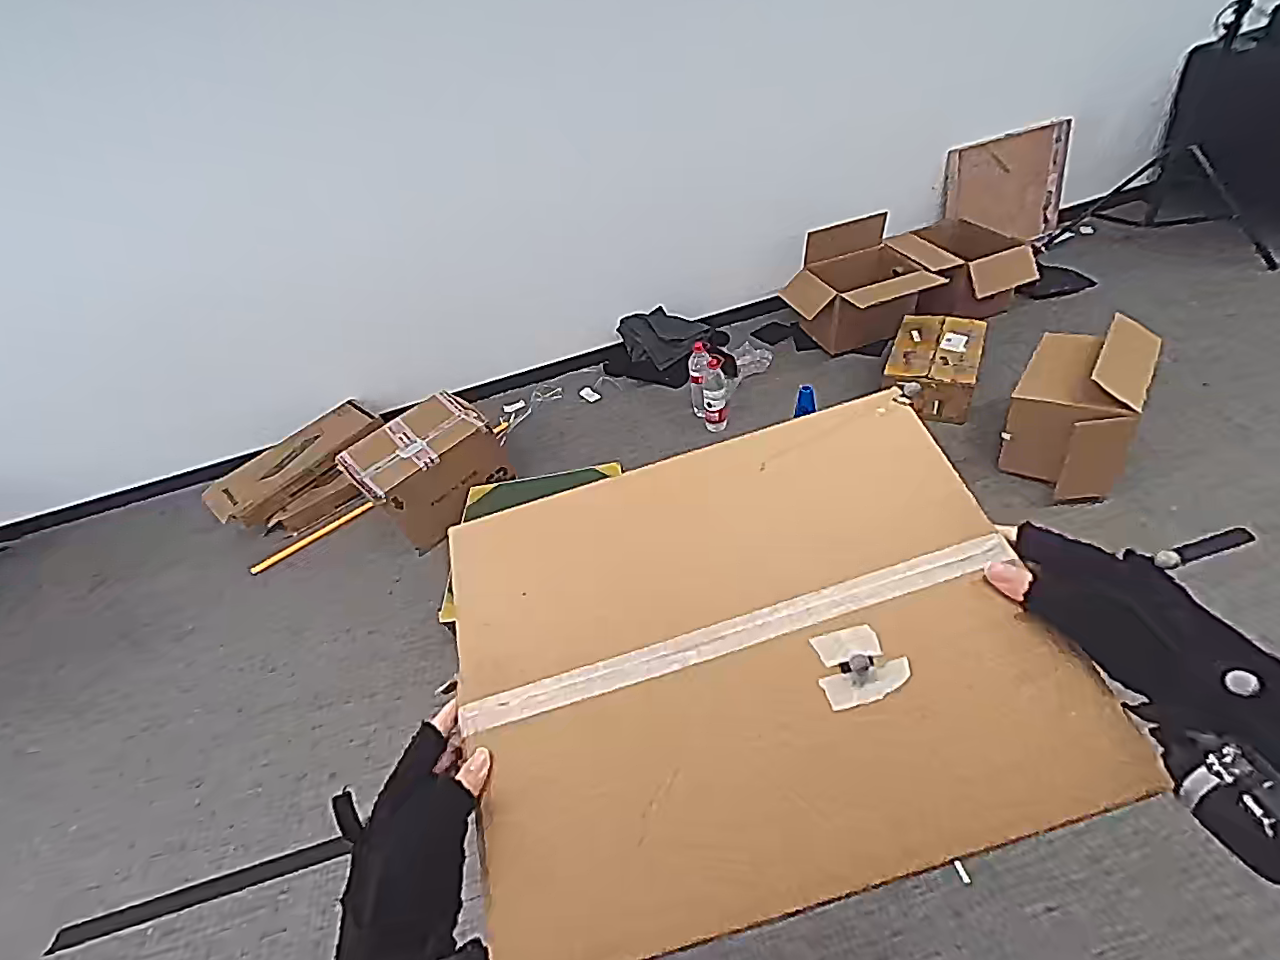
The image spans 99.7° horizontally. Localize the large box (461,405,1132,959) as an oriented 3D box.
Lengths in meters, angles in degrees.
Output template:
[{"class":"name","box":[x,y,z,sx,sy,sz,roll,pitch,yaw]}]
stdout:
[{"class":"large box","box":[0.092,0.191,0.526,0.408,0.320,0.320,-18,60,-1]}]
